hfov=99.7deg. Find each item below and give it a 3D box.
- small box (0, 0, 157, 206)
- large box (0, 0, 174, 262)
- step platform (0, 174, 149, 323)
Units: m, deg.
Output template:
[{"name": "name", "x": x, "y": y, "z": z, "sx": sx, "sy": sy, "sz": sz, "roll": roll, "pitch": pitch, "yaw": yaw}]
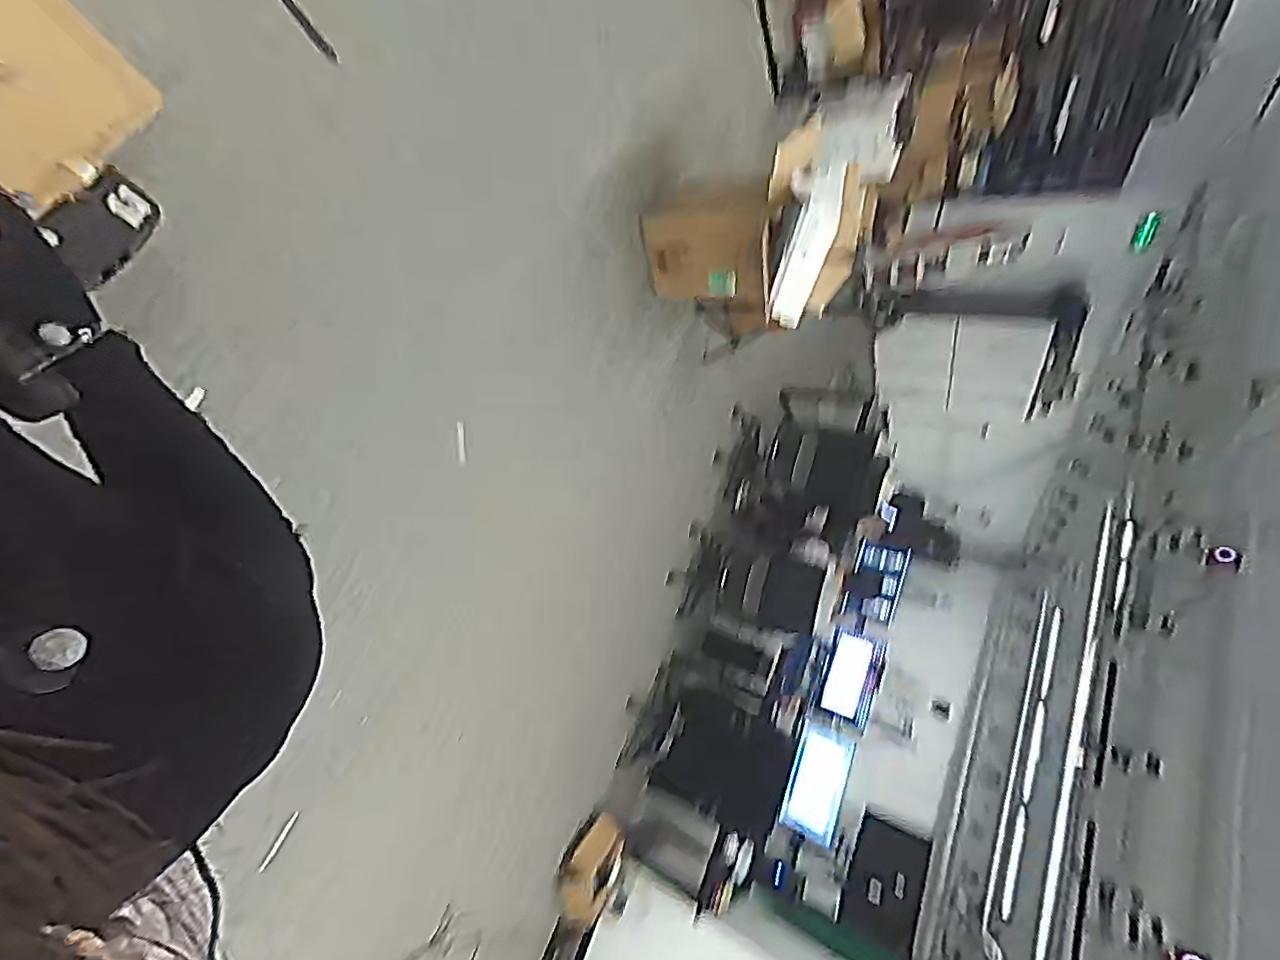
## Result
[{"name": "small box", "x": -0.680, "y": -0.412, "z": 0.564, "sx": 0.168, "sy": 0.176, "sz": 0.179, "roll": -61, "pitch": 144, "yaw": -23}, {"name": "large box", "x": -0.908, "y": -0.517, "z": 0.633, "sx": 0.320, "sy": 0.320, "sz": 0.408, "roll": -64, "pitch": 145, "yaw": -20}, {"name": "step platform", "x": -1.118, "y": -0.558, "z": 0.740, "sx": 0.286, "sy": 0.204, "sz": 0.684, "roll": -60, "pitch": 144, "yaw": -24}]
